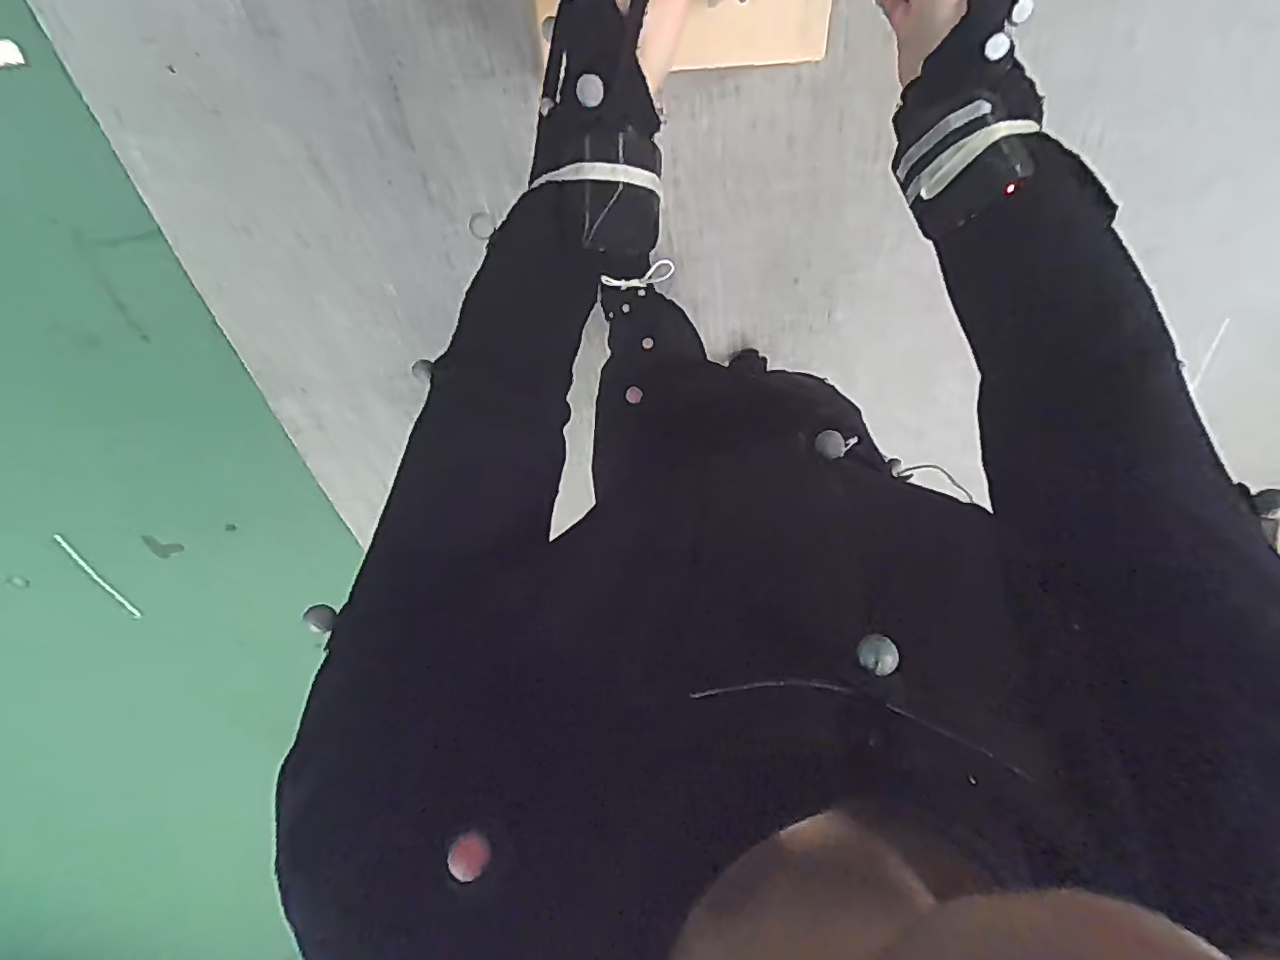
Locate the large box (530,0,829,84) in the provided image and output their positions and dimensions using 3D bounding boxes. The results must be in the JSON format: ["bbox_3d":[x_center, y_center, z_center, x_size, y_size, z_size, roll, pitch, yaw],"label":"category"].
[{"bbox_3d":[0.031,-0.790,0.787,0.408,0.320,0.320,-9,127,-6],"label":"large box"}]
